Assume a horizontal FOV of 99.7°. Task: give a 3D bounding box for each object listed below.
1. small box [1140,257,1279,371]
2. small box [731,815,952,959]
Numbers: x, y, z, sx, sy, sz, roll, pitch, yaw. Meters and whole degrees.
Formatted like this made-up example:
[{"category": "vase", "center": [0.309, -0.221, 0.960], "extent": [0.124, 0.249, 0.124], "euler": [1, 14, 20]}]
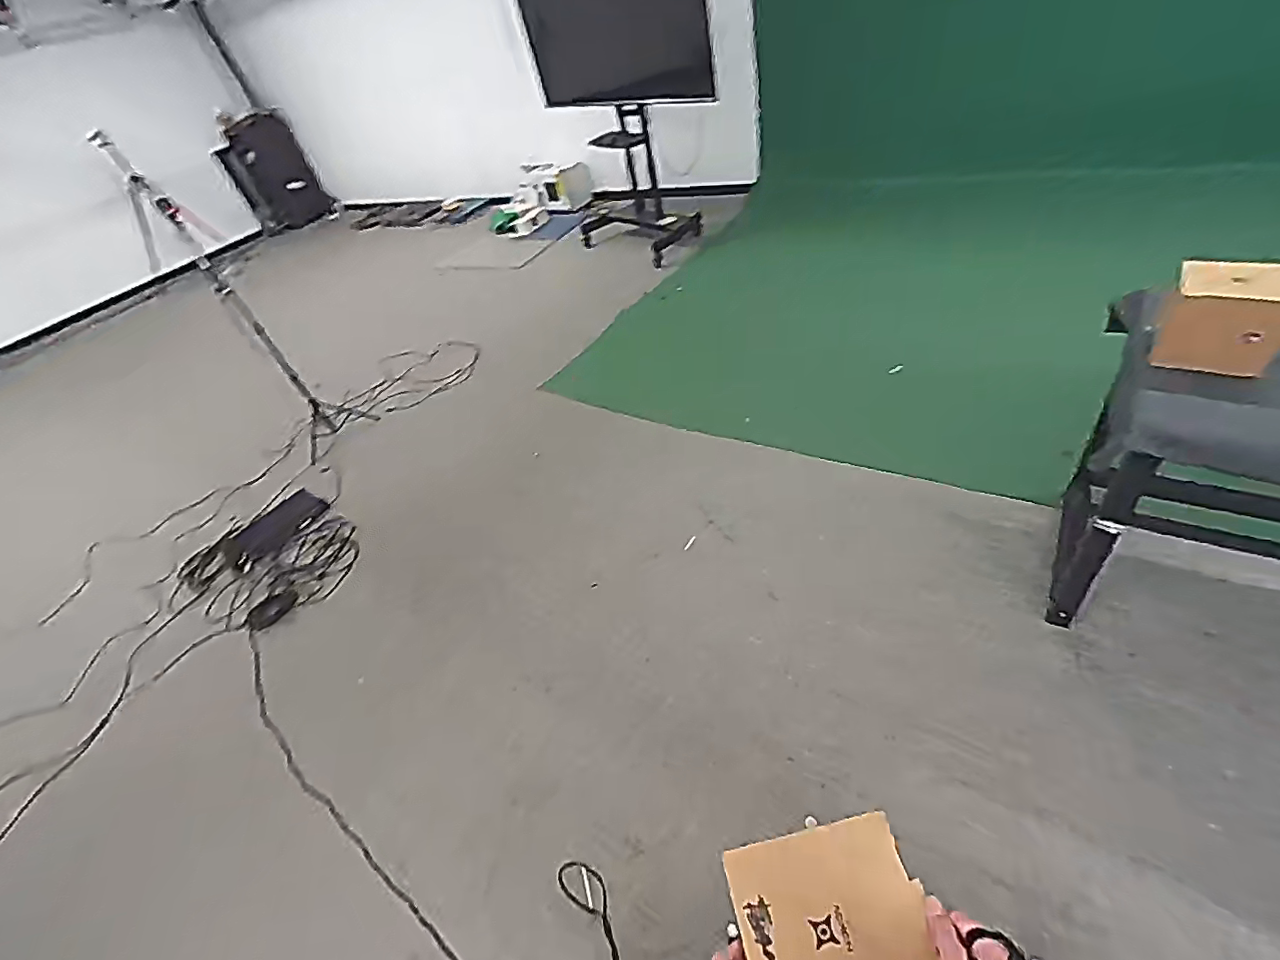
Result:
[{"category": "small box", "center": [1.207, -0.349, 1.138], "extent": [0.179, 0.176, 0.168], "euler": [19, 50, 33]}, {"category": "small box", "center": [0.209, 0.475, 0.579], "extent": [0.179, 0.176, 0.168], "euler": [-17, 52, 4]}]
